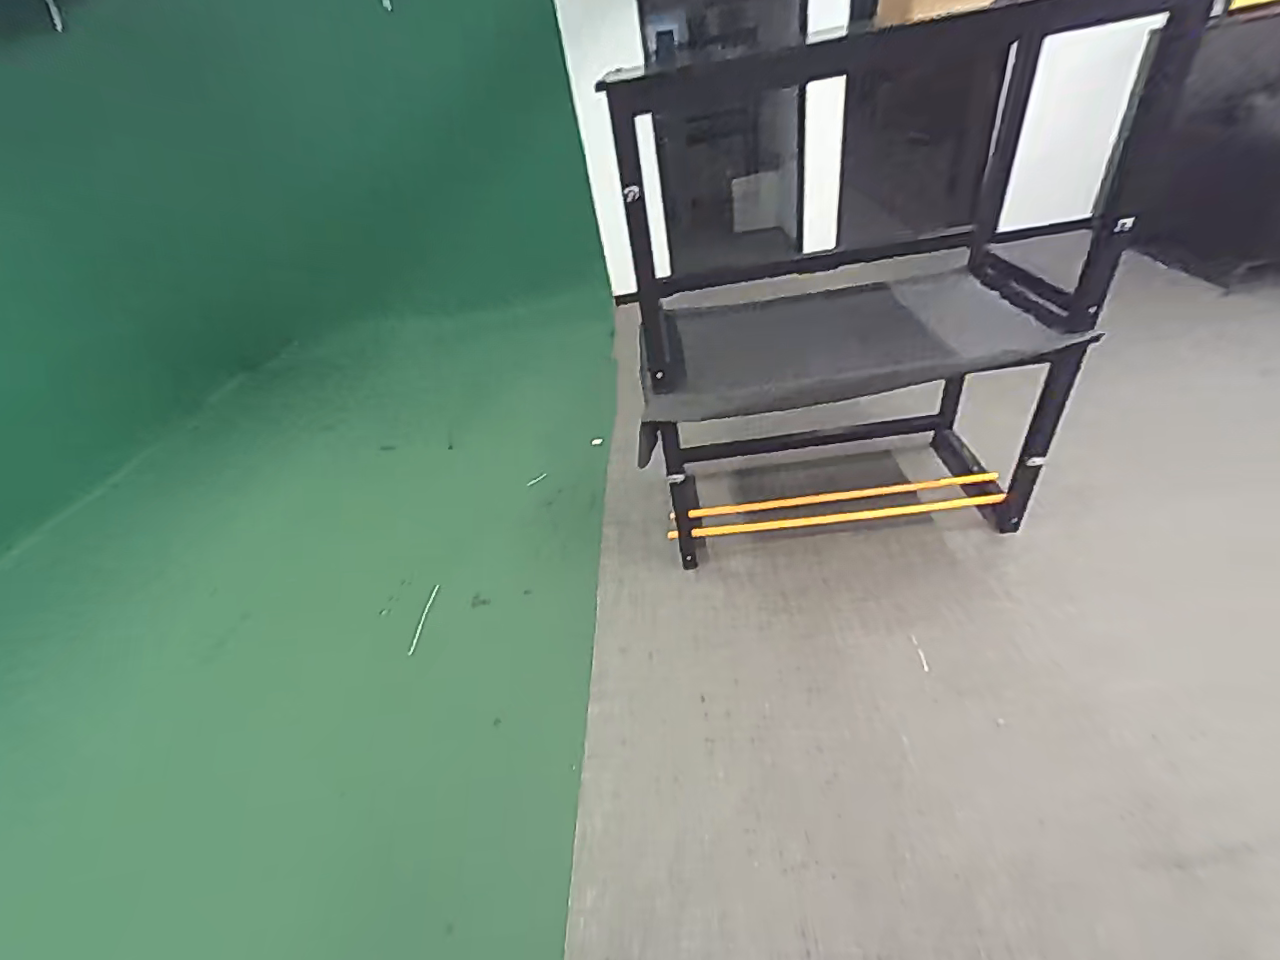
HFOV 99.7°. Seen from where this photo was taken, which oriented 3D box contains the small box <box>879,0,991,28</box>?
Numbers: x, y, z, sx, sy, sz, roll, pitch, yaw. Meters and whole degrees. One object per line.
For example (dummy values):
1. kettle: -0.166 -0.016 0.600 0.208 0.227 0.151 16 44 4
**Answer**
1. small box: 0.610 -1.051 1.103 0.168 0.176 0.179 -11 37 2
